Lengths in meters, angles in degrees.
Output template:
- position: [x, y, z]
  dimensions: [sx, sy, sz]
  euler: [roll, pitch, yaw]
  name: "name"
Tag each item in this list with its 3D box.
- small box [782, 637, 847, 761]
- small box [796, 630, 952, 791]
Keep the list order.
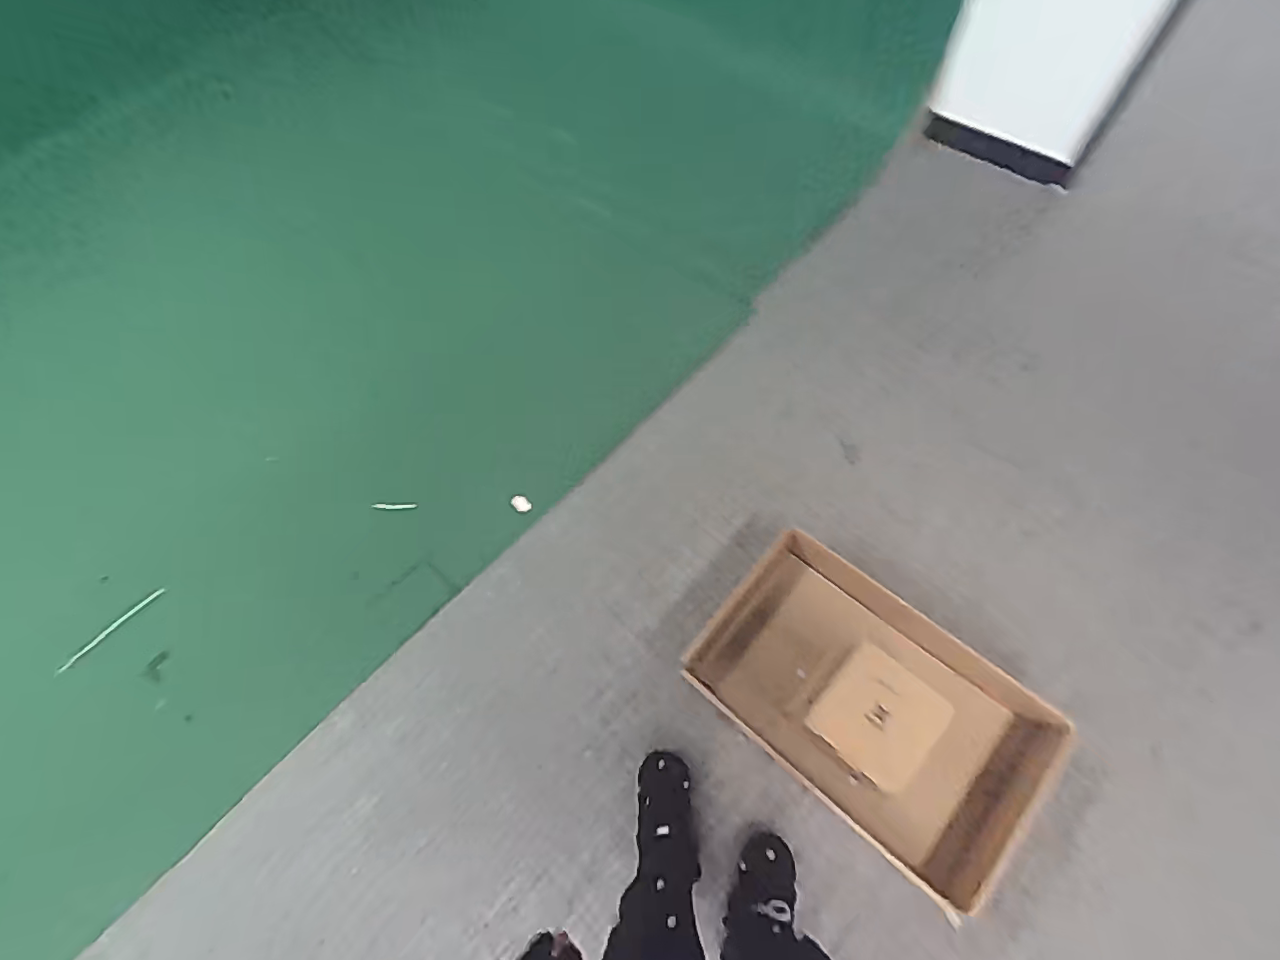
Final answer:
- position: [0.408, 0.442, 1.082]
  dimensions: [0.179, 0.176, 0.168]
  euler: [39, 76, 23]
  name: "small box"
- position: [0.381, 0.385, 0.916]
  dimensions: [0.168, 0.176, 0.179]
  euler: [34, 76, 20]
  name: "small box"
